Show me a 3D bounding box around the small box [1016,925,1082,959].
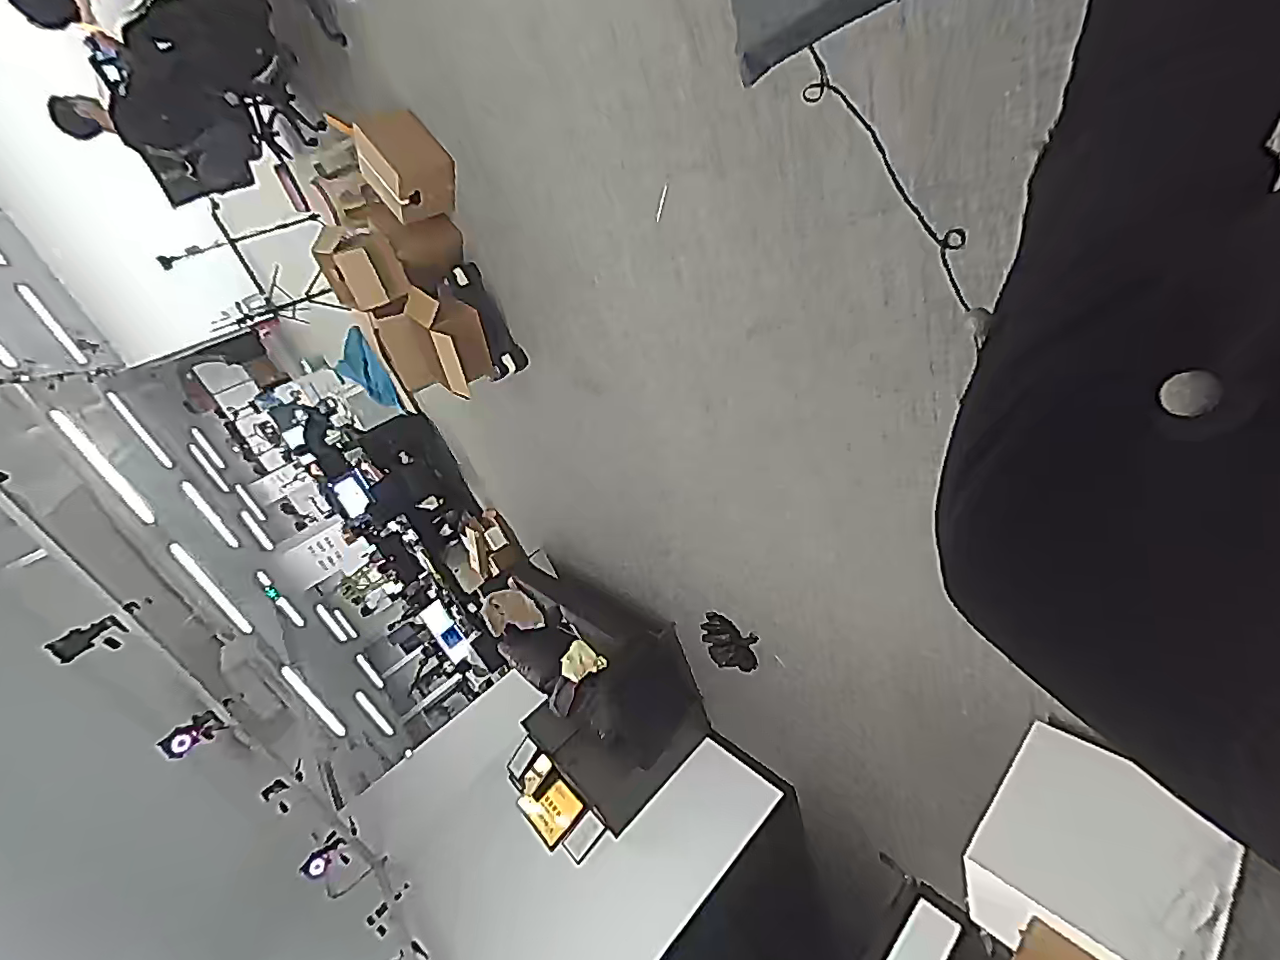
[{"bbox_3d":[1.095,1.341,1.420,0.179,0.176,0.168,18,135,50],"label":"small box"}]
